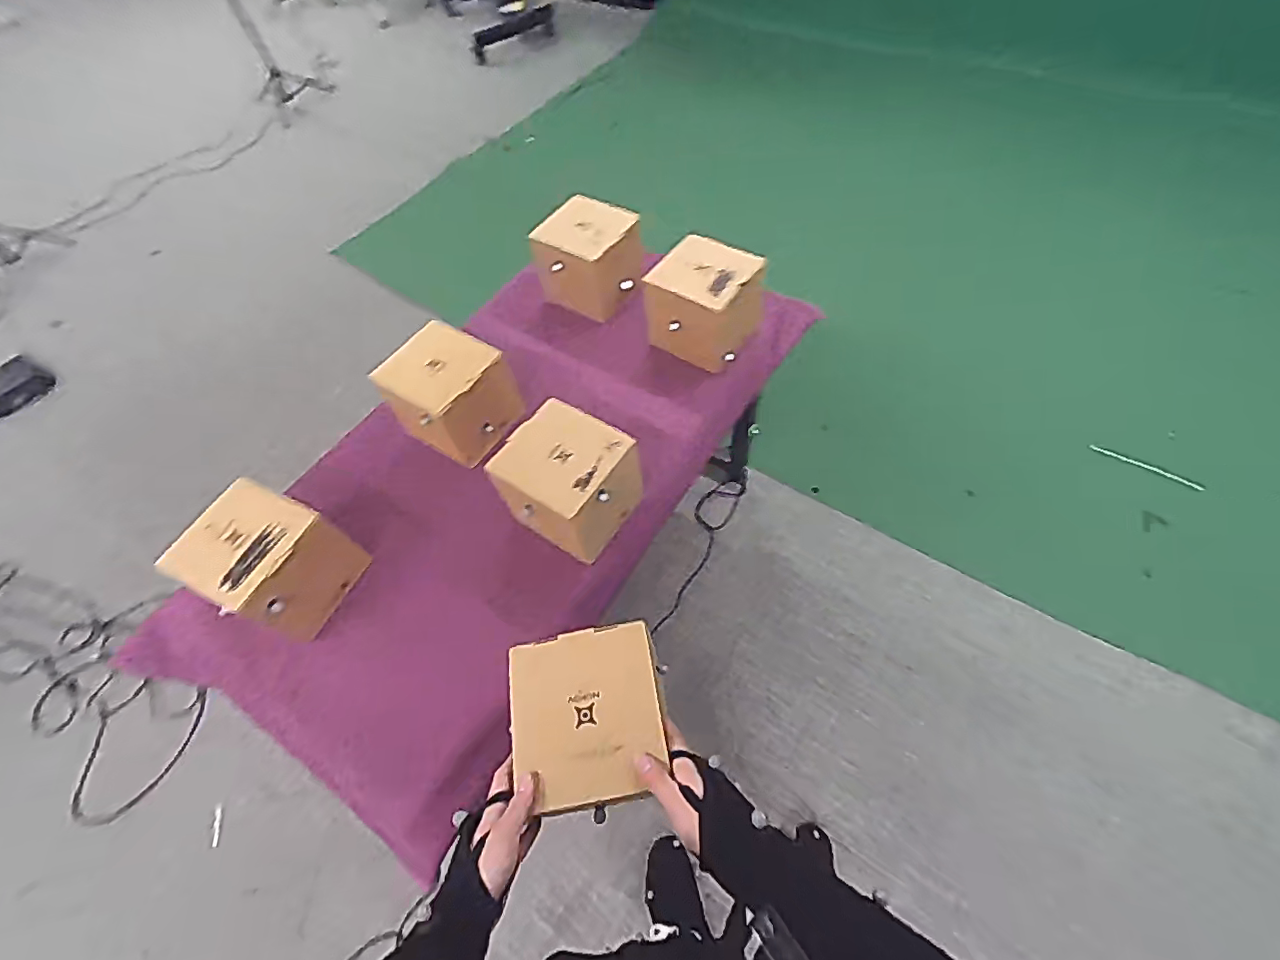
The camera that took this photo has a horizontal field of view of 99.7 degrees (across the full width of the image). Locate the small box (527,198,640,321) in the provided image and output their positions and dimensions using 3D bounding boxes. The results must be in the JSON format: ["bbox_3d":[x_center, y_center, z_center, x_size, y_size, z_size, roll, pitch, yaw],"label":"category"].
[{"bbox_3d":[-0.116,-0.480,1.190,0.179,0.176,0.168,29,66,20],"label":"small box"}]

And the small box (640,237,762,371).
[{"bbox_3d":[0.124,-0.348,1.091,0.179,0.176,0.168,31,66,23],"label":"small box"}]

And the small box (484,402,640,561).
[{"bbox_3d":[-0.118,0.008,0.895,0.179,0.176,0.168,28,65,22],"label":"small box"}]

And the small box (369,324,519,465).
[{"bbox_3d":[-0.357,-0.155,1.016,0.179,0.176,0.168,28,64,18],"label":"small box"}]
